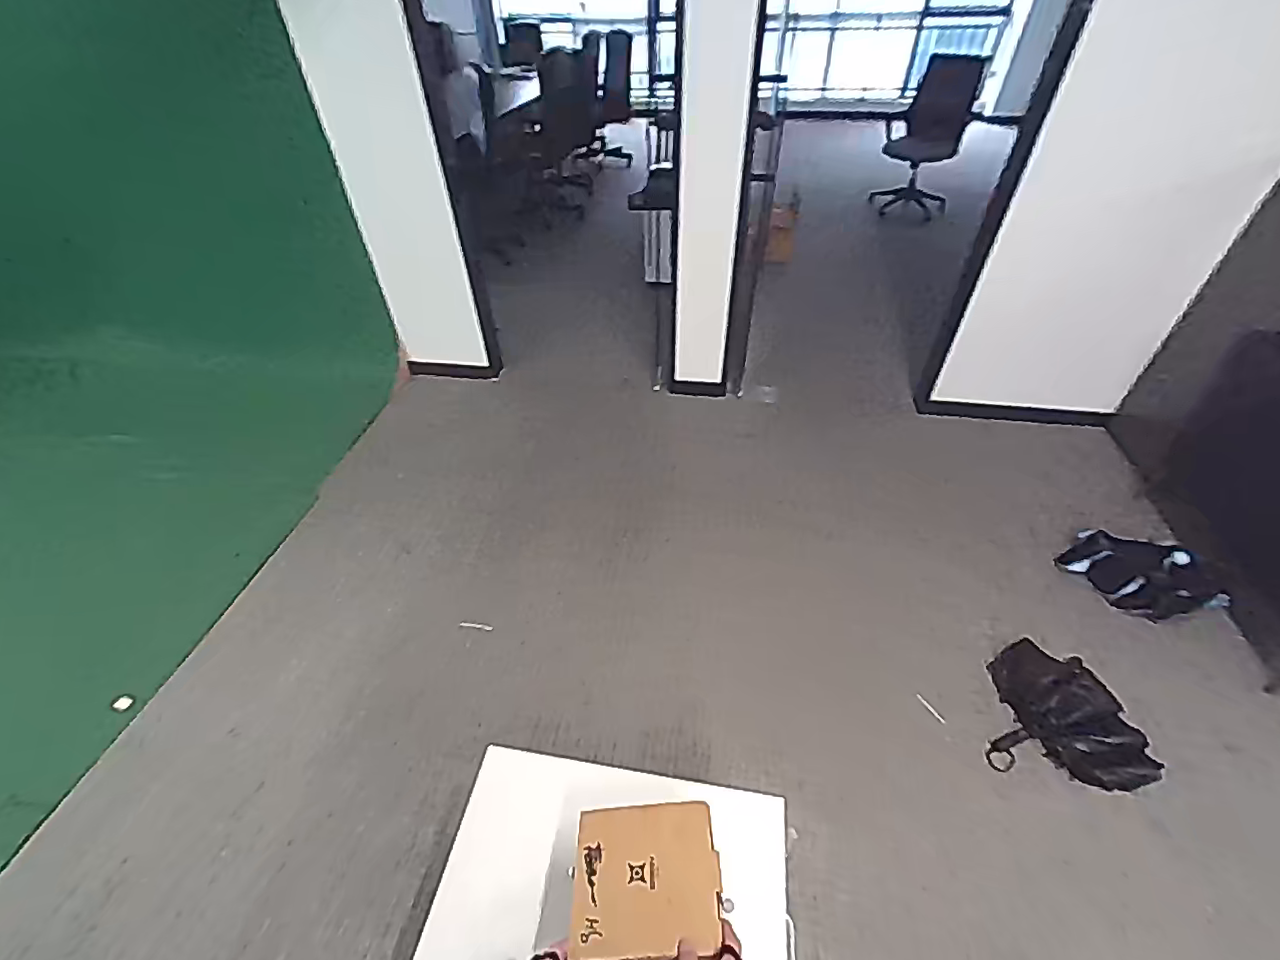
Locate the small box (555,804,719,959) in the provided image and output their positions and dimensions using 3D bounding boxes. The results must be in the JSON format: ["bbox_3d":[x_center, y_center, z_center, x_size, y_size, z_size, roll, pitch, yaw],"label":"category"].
[{"bbox_3d":[0.003,0.537,0.676,0.179,0.176,0.168,-5,29,3],"label":"small box"}]
